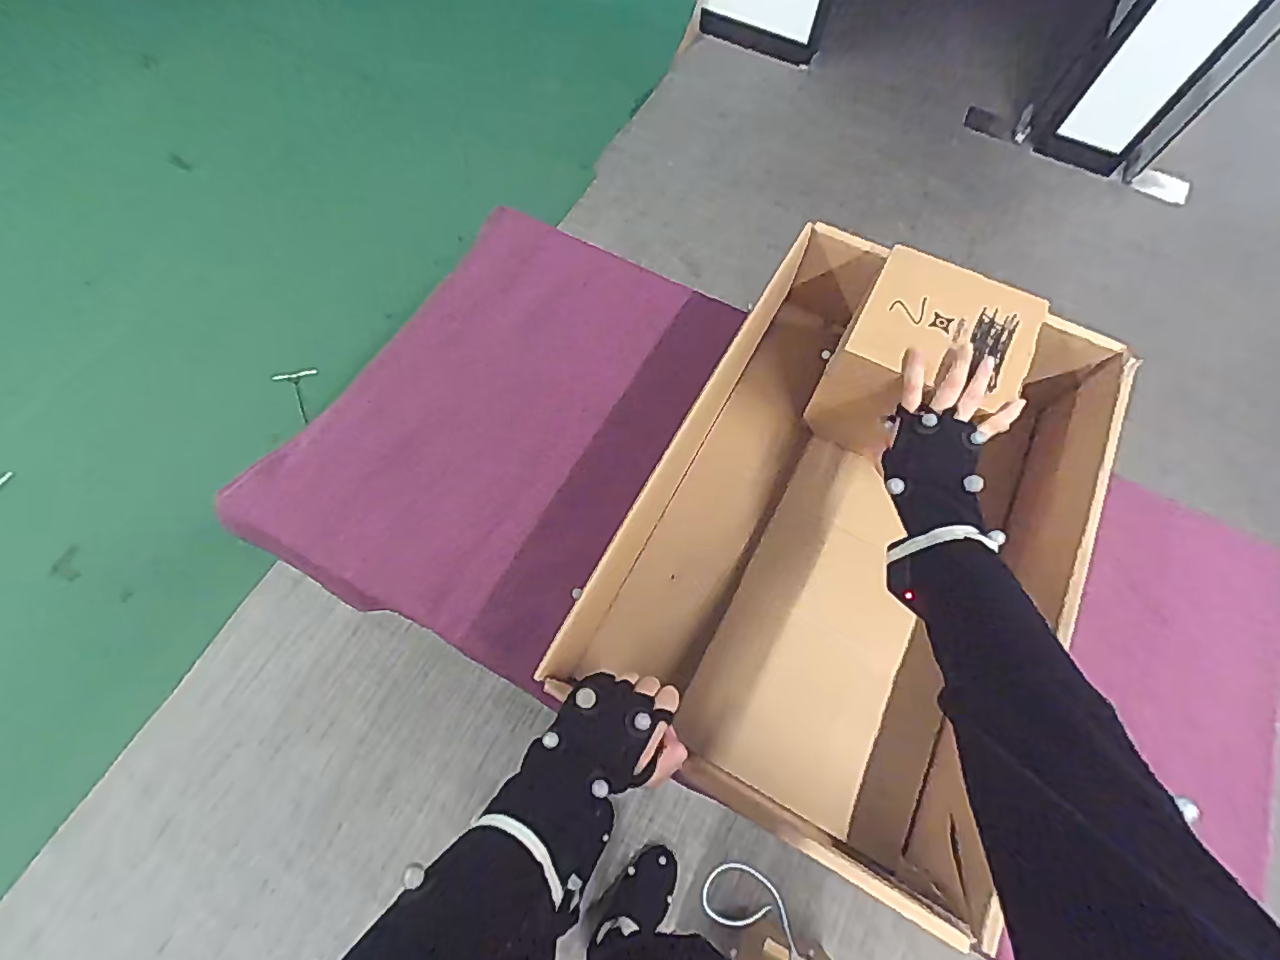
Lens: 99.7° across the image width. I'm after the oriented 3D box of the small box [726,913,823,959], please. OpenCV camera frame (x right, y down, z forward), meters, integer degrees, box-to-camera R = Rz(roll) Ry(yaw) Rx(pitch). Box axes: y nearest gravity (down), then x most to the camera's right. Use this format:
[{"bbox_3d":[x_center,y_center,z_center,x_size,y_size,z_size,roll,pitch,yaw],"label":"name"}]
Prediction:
[{"bbox_3d":[0.266,0.984,1.035,0.179,0.176,0.168,26,70,9],"label":"small box"}]
